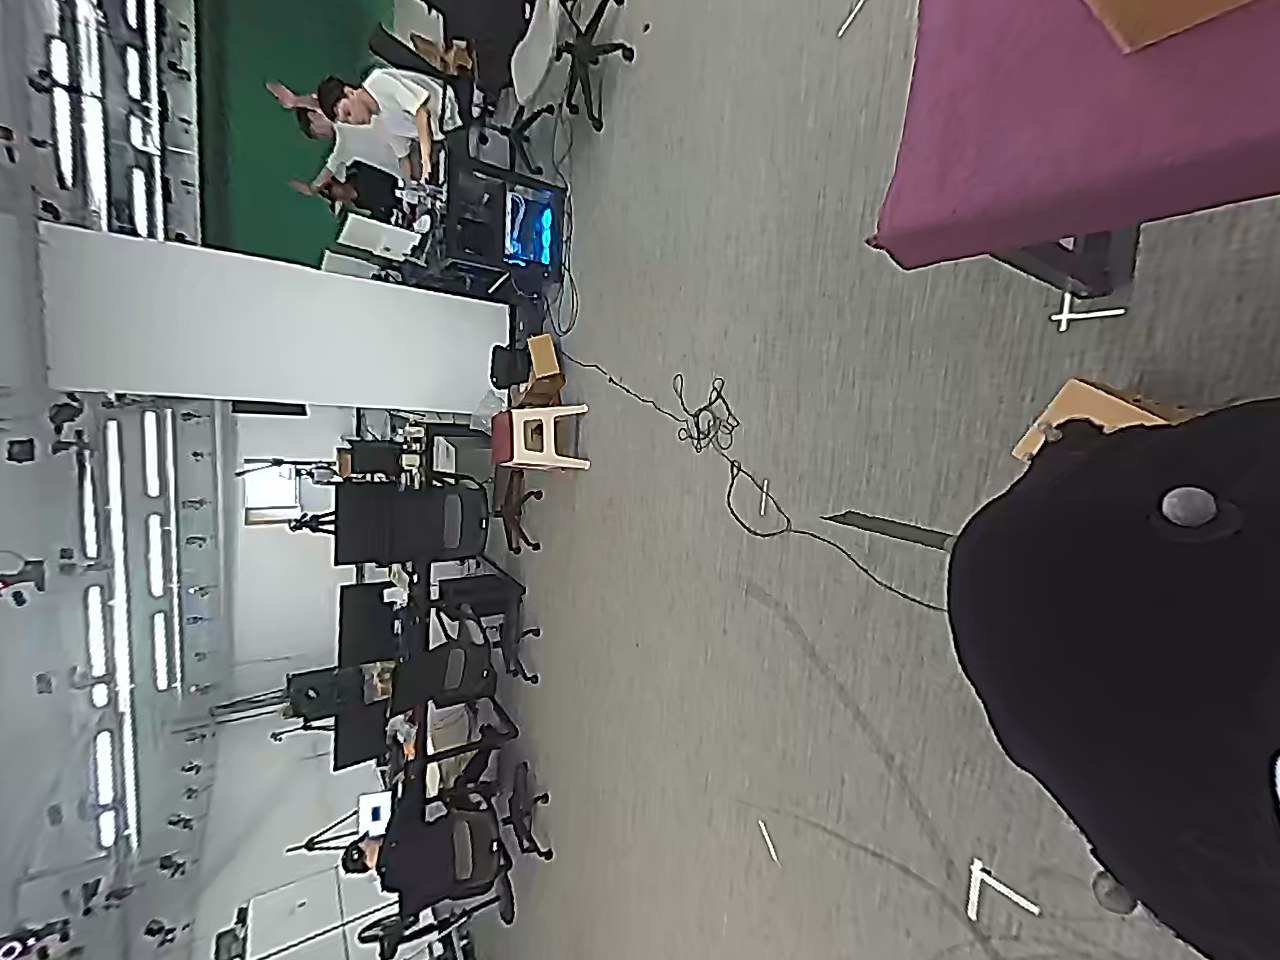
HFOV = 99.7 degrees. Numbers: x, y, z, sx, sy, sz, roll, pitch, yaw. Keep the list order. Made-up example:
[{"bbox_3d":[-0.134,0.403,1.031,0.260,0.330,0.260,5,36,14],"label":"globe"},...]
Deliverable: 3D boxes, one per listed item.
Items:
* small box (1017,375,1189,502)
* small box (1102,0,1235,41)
[{"bbox_3d":[0.879,-0.079,1.026,0.168,0.176,0.179,52,132,41],"label":"small box"},{"bbox_3d":[0.544,-0.566,0.500,0.179,0.176,0.168,9,98,55],"label":"small box"}]
